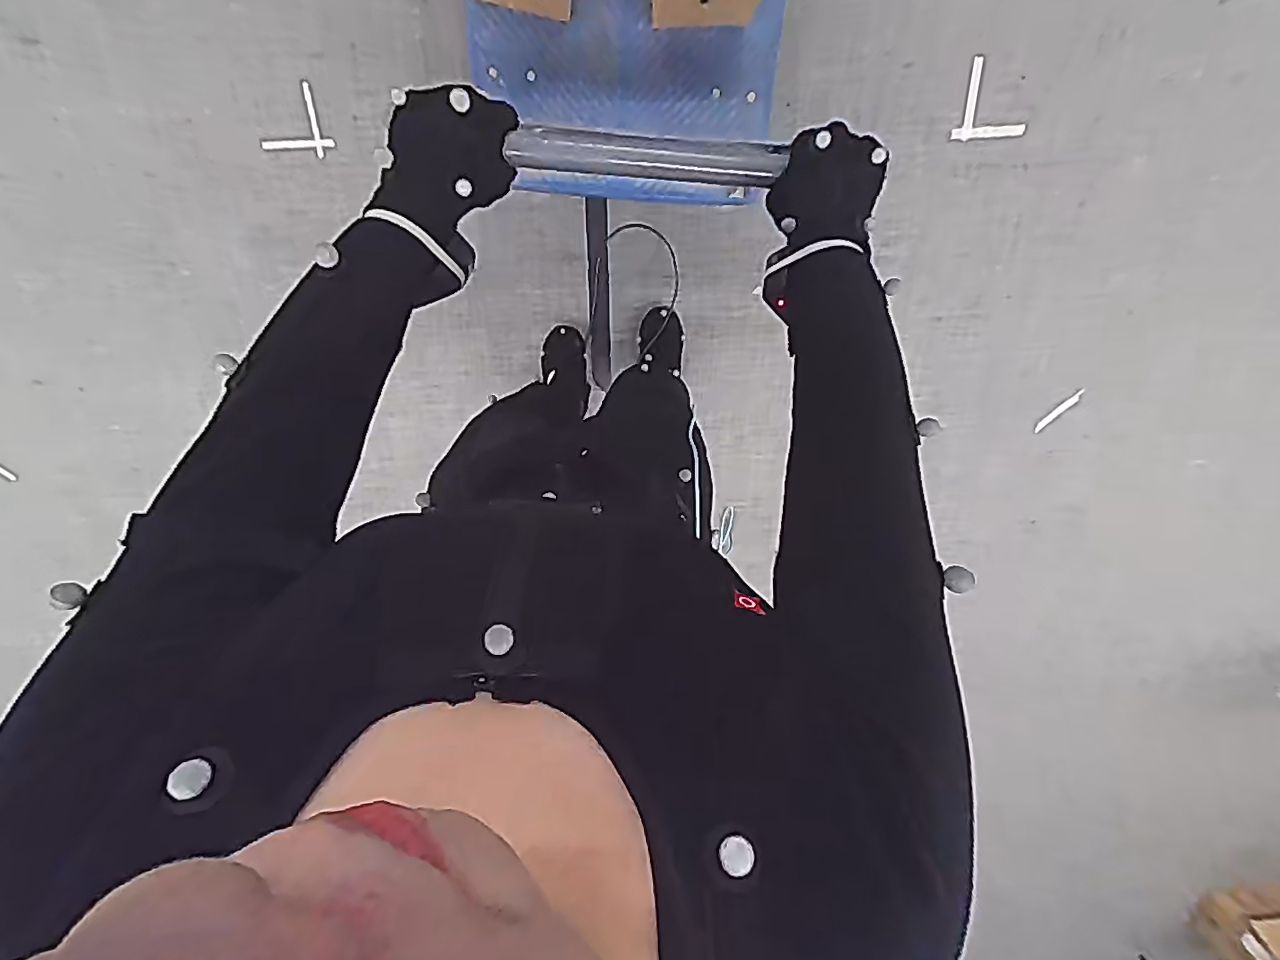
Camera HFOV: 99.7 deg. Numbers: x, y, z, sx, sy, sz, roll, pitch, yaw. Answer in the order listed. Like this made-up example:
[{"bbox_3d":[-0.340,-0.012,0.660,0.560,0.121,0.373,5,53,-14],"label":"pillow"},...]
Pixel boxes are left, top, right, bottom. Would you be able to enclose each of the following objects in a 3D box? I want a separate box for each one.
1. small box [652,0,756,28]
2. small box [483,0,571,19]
[{"bbox_3d":[0.111,-0.875,0.891,0.179,0.176,0.168,-3,115,-3],"label":"small box"},{"bbox_3d":[-0.195,-0.883,0.866,0.179,0.176,0.168,7,113,-9],"label":"small box"}]
